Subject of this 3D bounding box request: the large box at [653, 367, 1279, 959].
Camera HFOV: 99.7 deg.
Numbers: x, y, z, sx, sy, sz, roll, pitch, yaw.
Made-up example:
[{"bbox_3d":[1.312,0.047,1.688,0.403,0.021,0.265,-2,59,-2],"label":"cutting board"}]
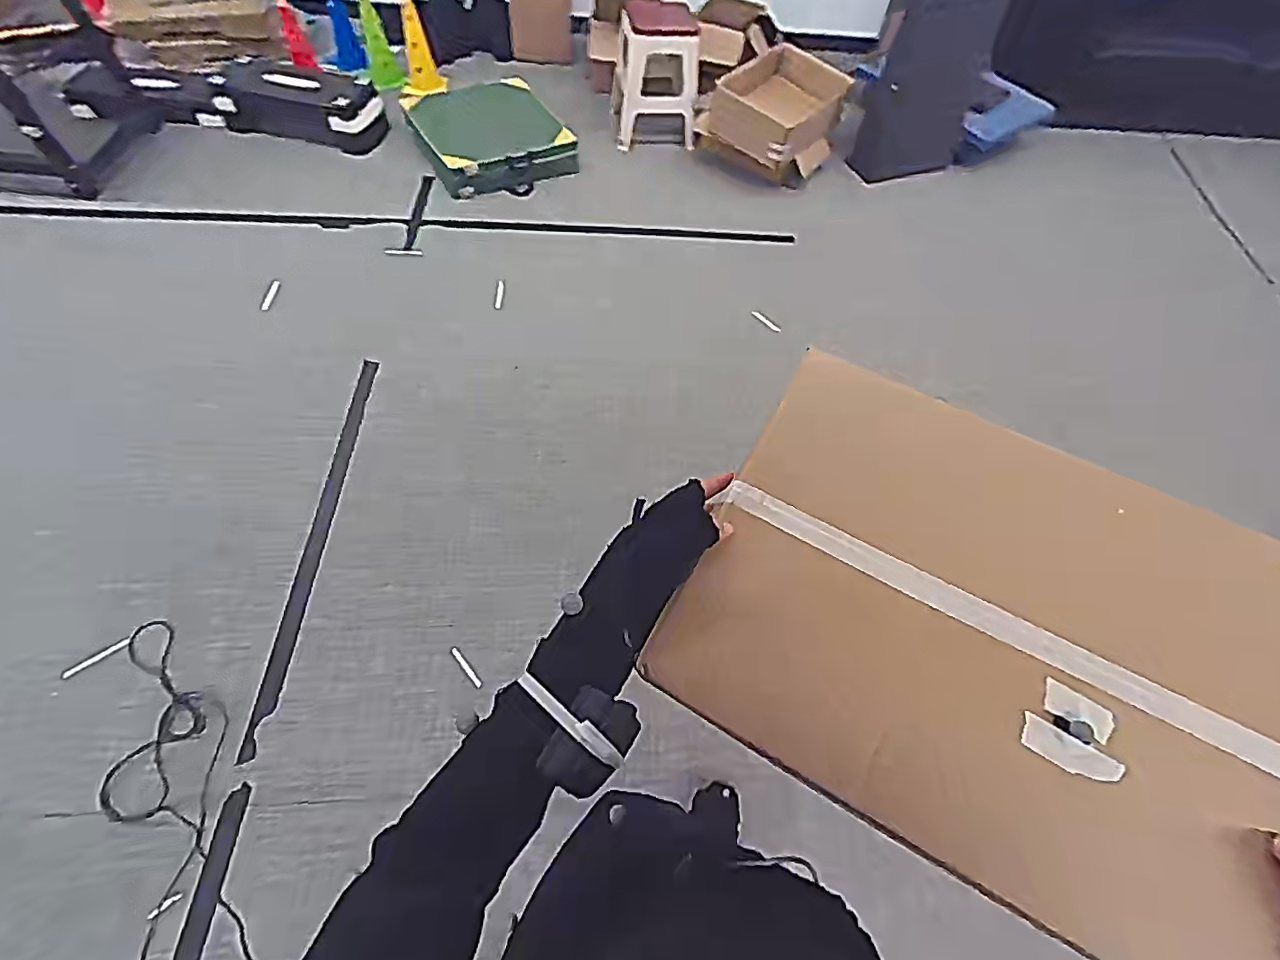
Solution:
[{"bbox_3d":[0.259,0.159,0.536,0.408,0.320,0.320,27,73,14],"label":"large box"}]
